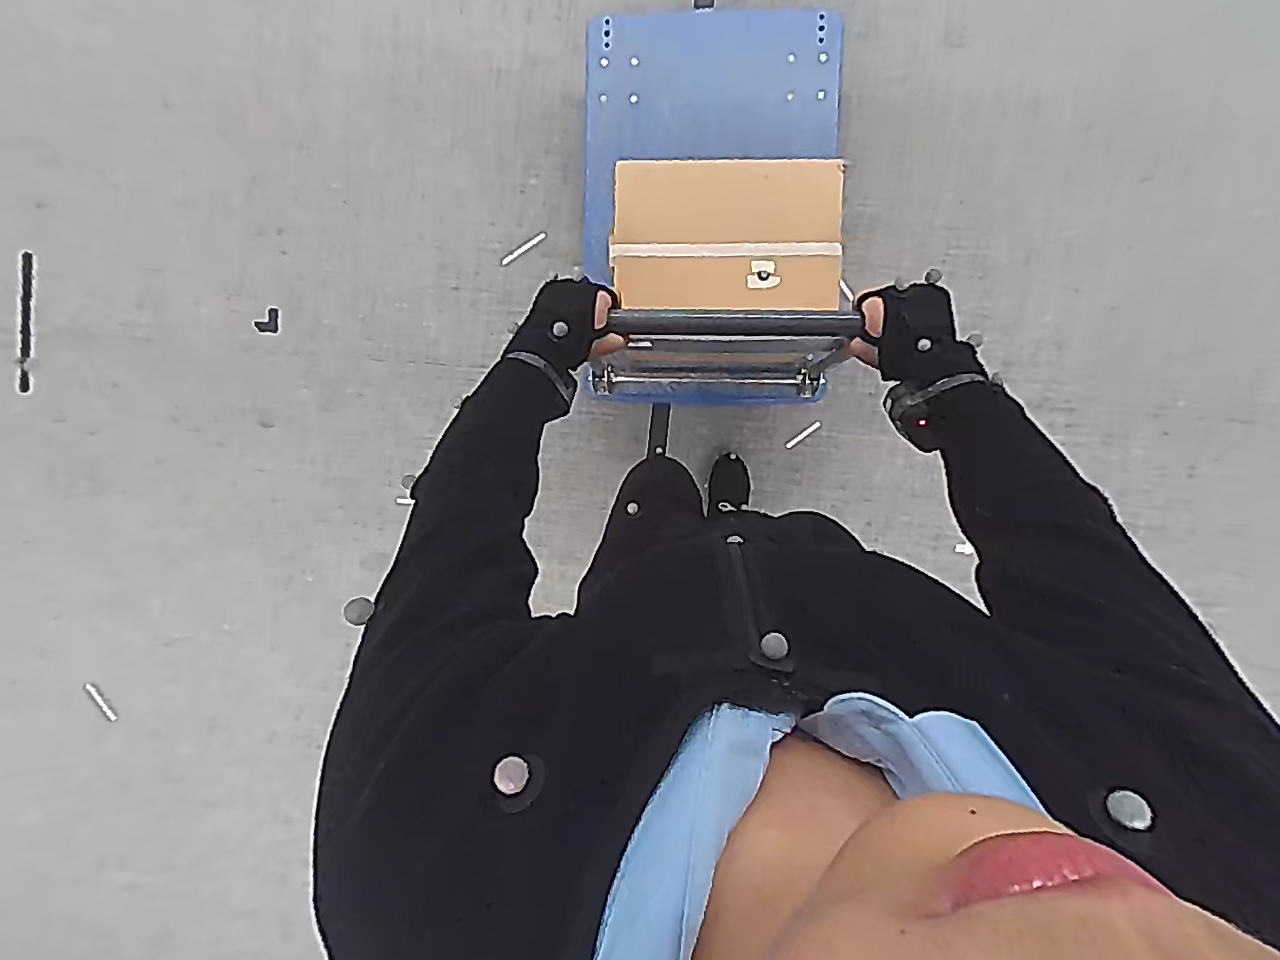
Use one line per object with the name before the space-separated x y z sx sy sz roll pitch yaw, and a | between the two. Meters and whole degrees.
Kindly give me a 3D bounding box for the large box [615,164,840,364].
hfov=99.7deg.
large box | 0.158 -0.417 1.117 0.408 0.320 0.320 1 95 2
